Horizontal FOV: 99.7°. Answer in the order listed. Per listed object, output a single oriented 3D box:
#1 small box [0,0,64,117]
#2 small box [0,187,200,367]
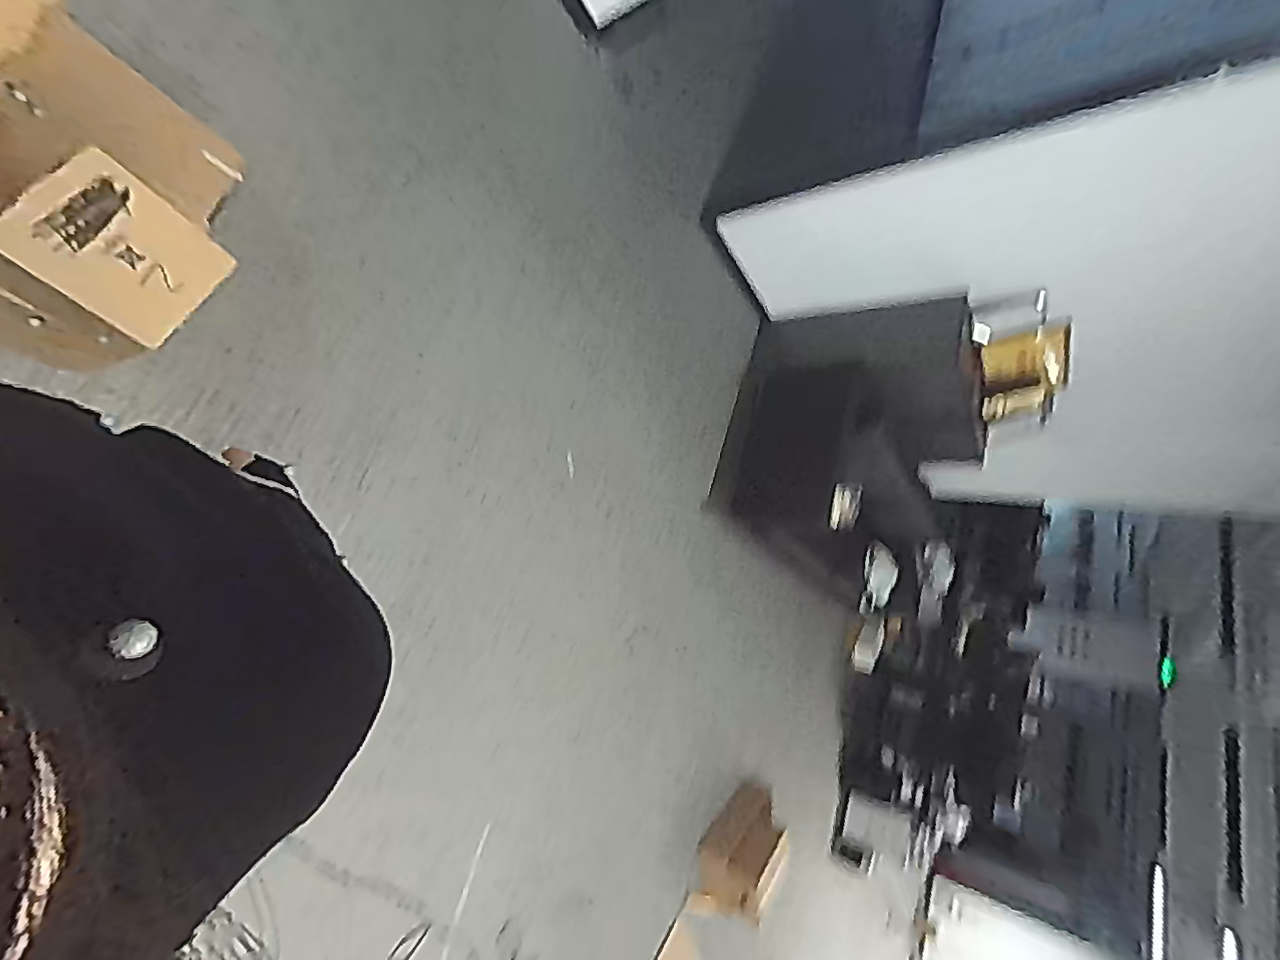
[{"bbox_3d":[-0.783,-0.517,0.576,0.179,0.176,0.168,35,64,-48],"label":"small box"},{"bbox_3d":[-0.819,-0.289,0.805,0.168,0.176,0.179,42,59,-46],"label":"small box"}]
